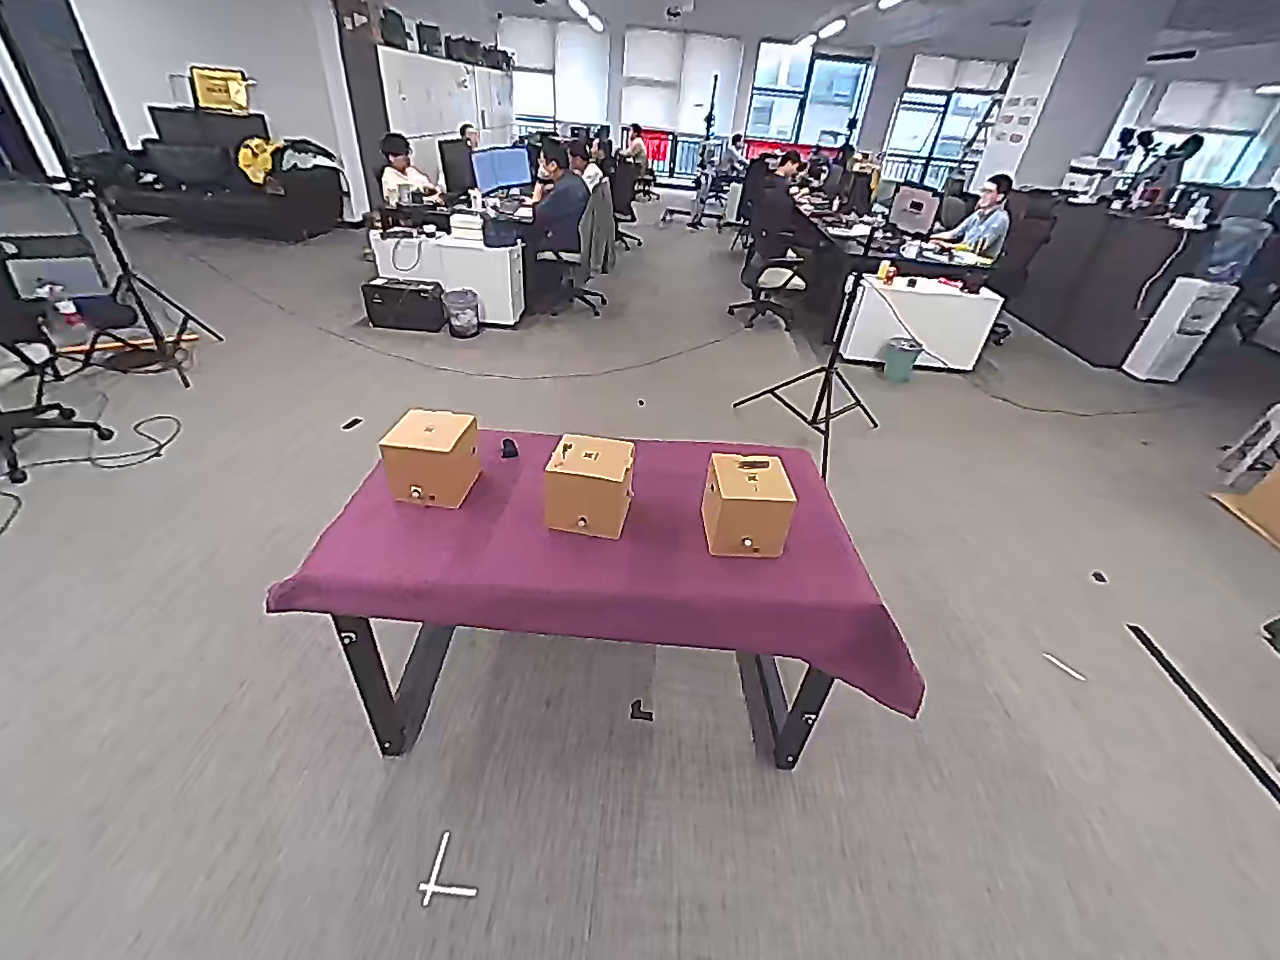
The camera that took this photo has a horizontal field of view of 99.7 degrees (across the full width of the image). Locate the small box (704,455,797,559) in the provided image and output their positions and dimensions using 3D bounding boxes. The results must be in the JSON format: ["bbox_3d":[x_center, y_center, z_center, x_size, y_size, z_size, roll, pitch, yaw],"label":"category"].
[{"bbox_3d":[0.248,0.061,1.261,0.168,0.176,0.179,2,35,-3],"label":"small box"}]

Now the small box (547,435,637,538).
[{"bbox_3d":[-0.113,0.017,1.278,0.179,0.176,0.168,9,34,5],"label":"small box"}]

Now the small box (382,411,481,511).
[{"bbox_3d":[-0.497,-0.049,1.322,0.168,0.176,0.179,6,35,2],"label":"small box"}]
